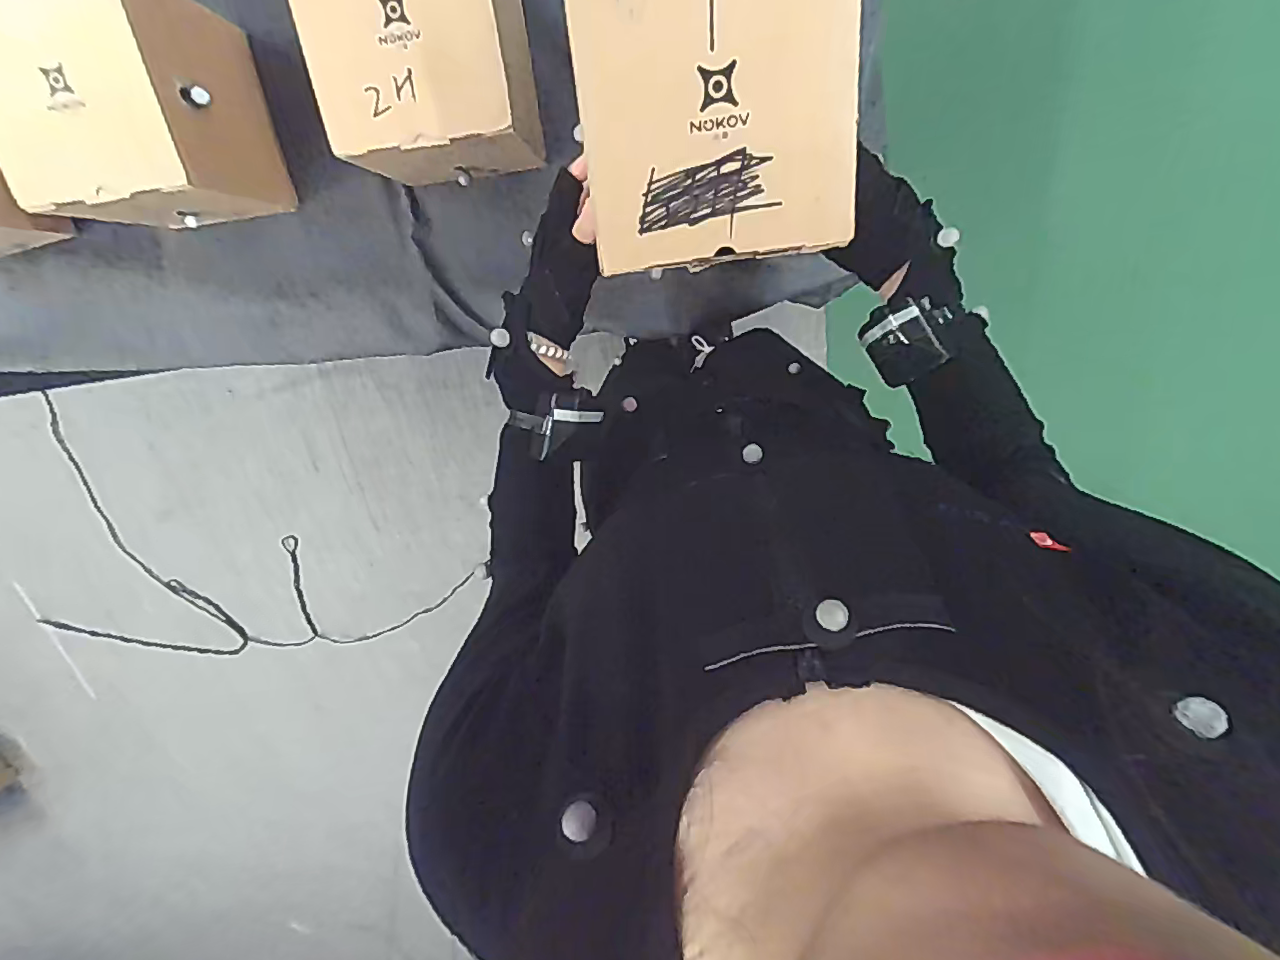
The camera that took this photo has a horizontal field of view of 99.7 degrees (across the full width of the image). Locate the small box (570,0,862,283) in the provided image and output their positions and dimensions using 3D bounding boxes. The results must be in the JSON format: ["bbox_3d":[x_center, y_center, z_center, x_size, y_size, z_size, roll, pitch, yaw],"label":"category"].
[{"bbox_3d":[0.053,-0.251,0.400,0.168,0.176,0.179,-5,112,5],"label":"small box"}]

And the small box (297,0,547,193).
[{"bbox_3d":[-0.194,-0.394,0.521,0.168,0.176,0.179,-6,110,3],"label":"small box"}]

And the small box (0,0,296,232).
[{"bbox_3d":[-0.489,-0.357,0.537,0.168,0.176,0.179,-7,111,2],"label":"small box"}]
